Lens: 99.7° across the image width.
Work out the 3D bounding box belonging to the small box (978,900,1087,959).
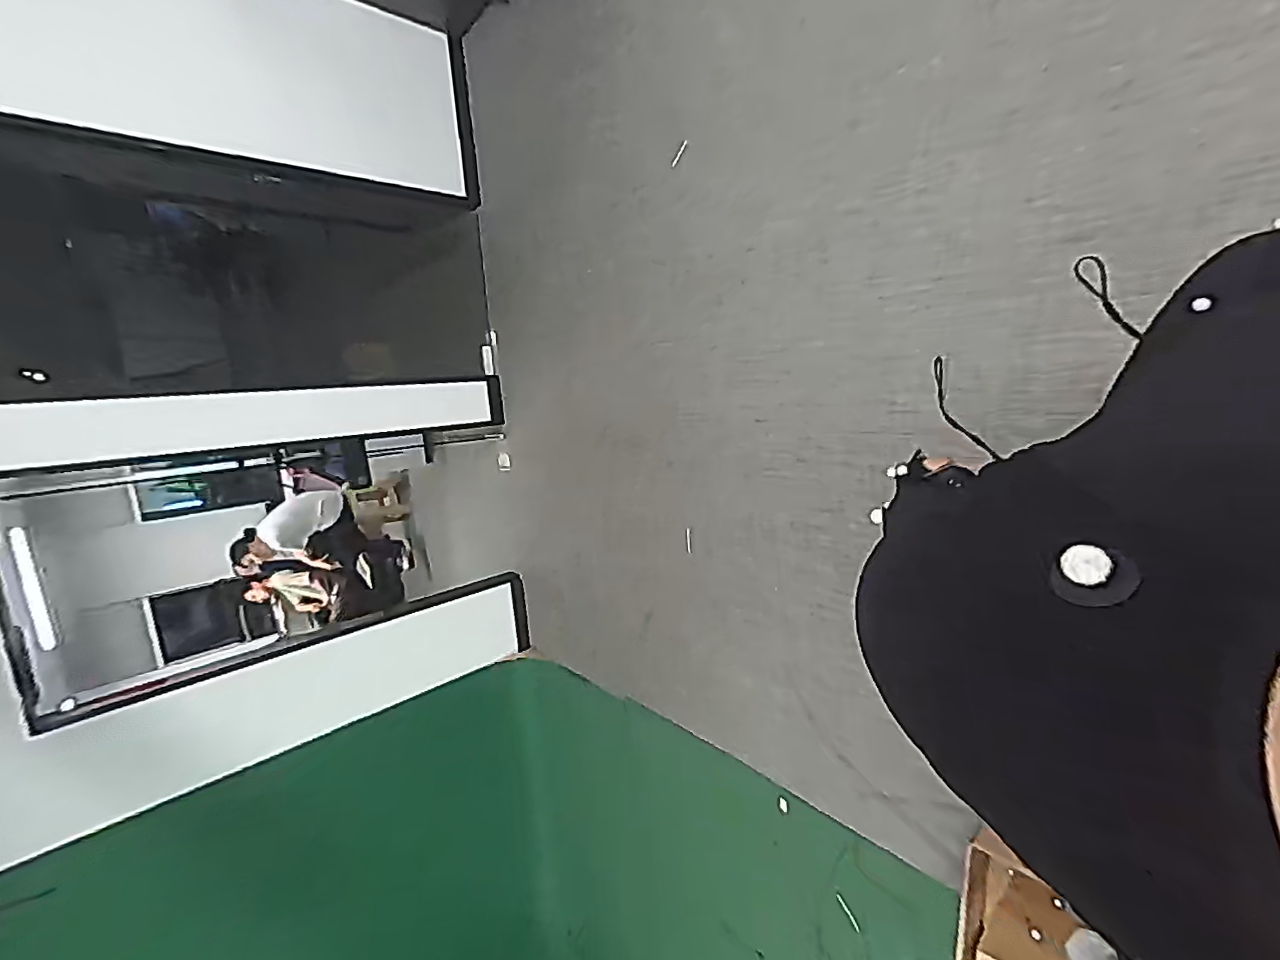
[{"bbox_3d":[0.851,1.087,1.178,0.168,0.176,0.179,9,105,46],"label":"small box"}]
